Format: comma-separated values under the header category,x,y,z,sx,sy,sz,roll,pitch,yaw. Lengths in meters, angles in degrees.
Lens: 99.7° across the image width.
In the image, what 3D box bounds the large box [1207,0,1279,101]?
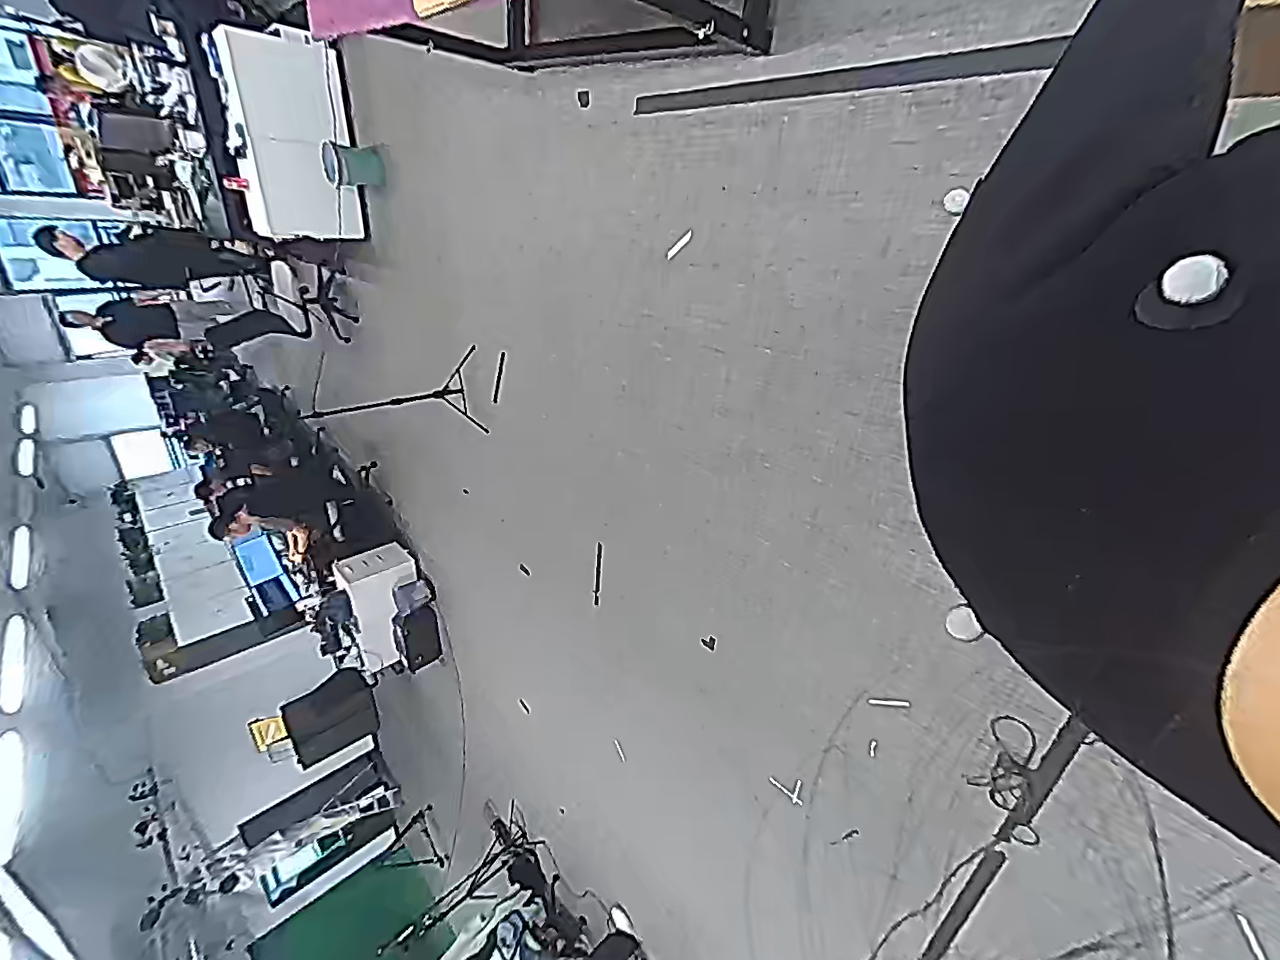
category,x,y,z,sx,sy,sz,roll,pitch,yaw
large box,0.694,-0.465,0.332,0.408,0.320,0.320,28,124,39
